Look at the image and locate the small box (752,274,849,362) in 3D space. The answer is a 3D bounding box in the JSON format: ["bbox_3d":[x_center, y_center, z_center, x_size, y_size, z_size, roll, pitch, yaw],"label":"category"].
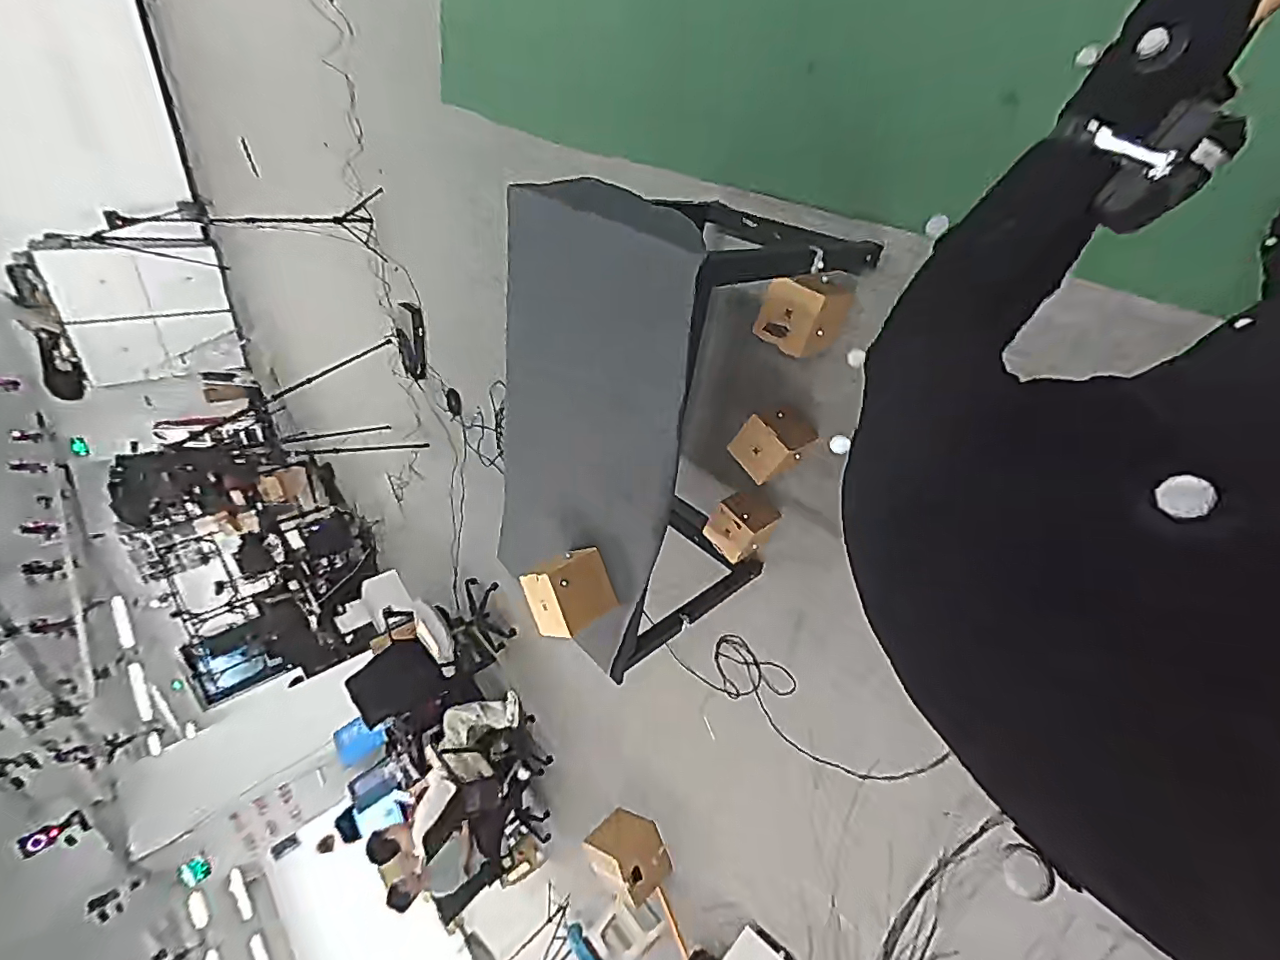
[{"bbox_3d":[0.446,-0.453,1.497,0.168,0.176,0.179,40,133,29],"label":"small box"}]

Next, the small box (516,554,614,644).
[{"bbox_3d":[-0.195,0.312,1.435,0.168,0.176,0.179,-17,94,51],"label":"small box"}]

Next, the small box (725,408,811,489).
[{"bbox_3d":[0.410,-0.104,1.704,0.168,0.176,0.179,52,140,19],"label":"small box"}]

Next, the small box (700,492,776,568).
[{"bbox_3d":[0.348,0.172,1.905,0.168,0.176,0.179,46,137,24],"label":"small box"}]
